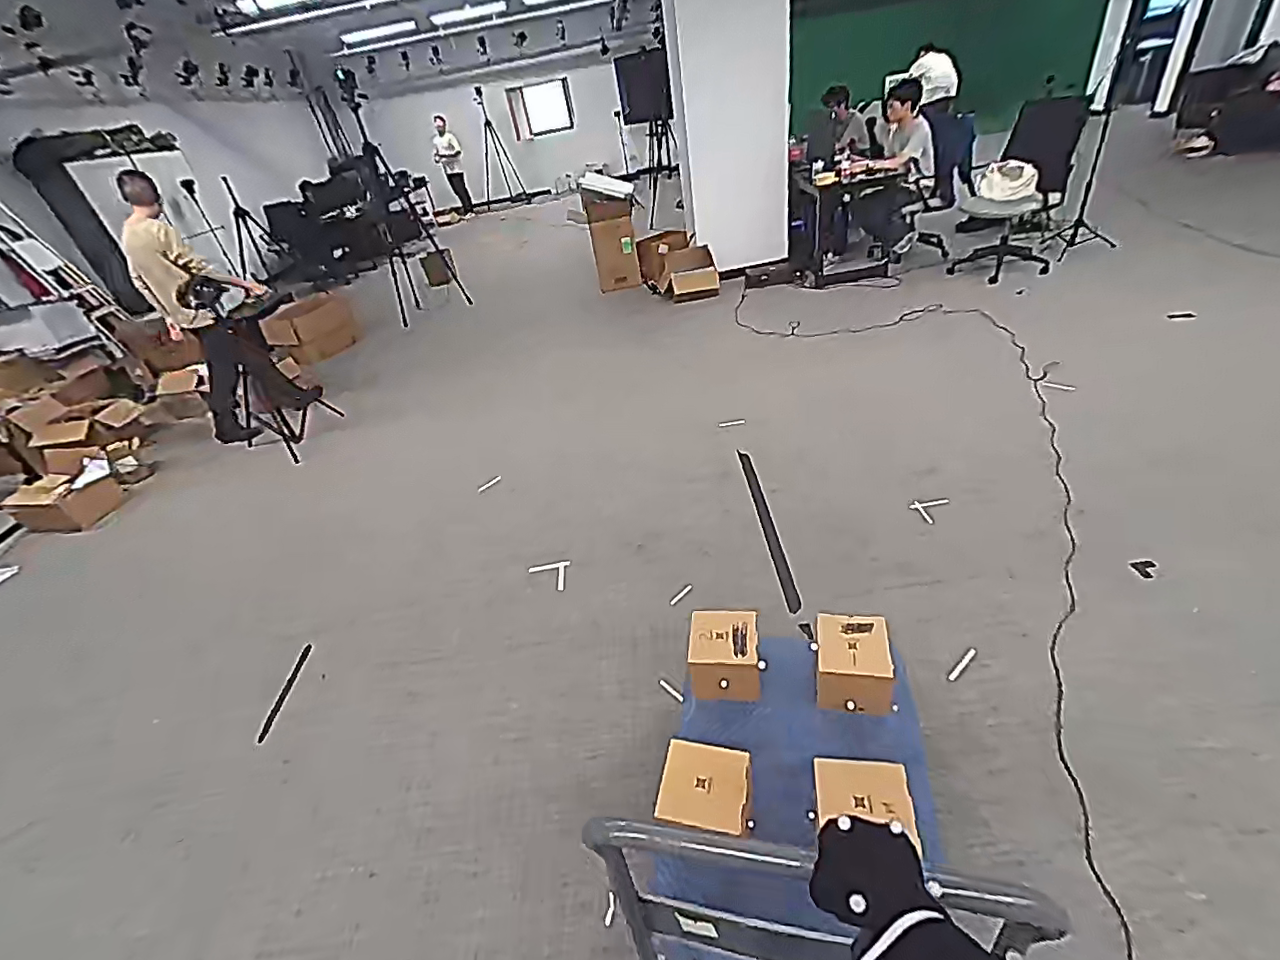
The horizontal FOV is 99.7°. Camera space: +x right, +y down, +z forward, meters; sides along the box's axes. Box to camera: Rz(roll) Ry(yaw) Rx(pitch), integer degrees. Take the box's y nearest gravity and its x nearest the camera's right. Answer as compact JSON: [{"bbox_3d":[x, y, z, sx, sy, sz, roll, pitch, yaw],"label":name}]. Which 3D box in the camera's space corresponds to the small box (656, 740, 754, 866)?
[{"bbox_3d":[0.147,0.695,1.165,0.179,0.176,0.168,2,37,17],"label":"small box"}]

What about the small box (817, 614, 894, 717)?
[{"bbox_3d":[0.537,0.467,1.369,0.168,0.176,0.179,0,37,17],"label":"small box"}]

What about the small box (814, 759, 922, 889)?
[{"bbox_3d":[0.446,0.688,1.083,0.179,0.176,0.168,-2,36,14],"label":"small box"}]
